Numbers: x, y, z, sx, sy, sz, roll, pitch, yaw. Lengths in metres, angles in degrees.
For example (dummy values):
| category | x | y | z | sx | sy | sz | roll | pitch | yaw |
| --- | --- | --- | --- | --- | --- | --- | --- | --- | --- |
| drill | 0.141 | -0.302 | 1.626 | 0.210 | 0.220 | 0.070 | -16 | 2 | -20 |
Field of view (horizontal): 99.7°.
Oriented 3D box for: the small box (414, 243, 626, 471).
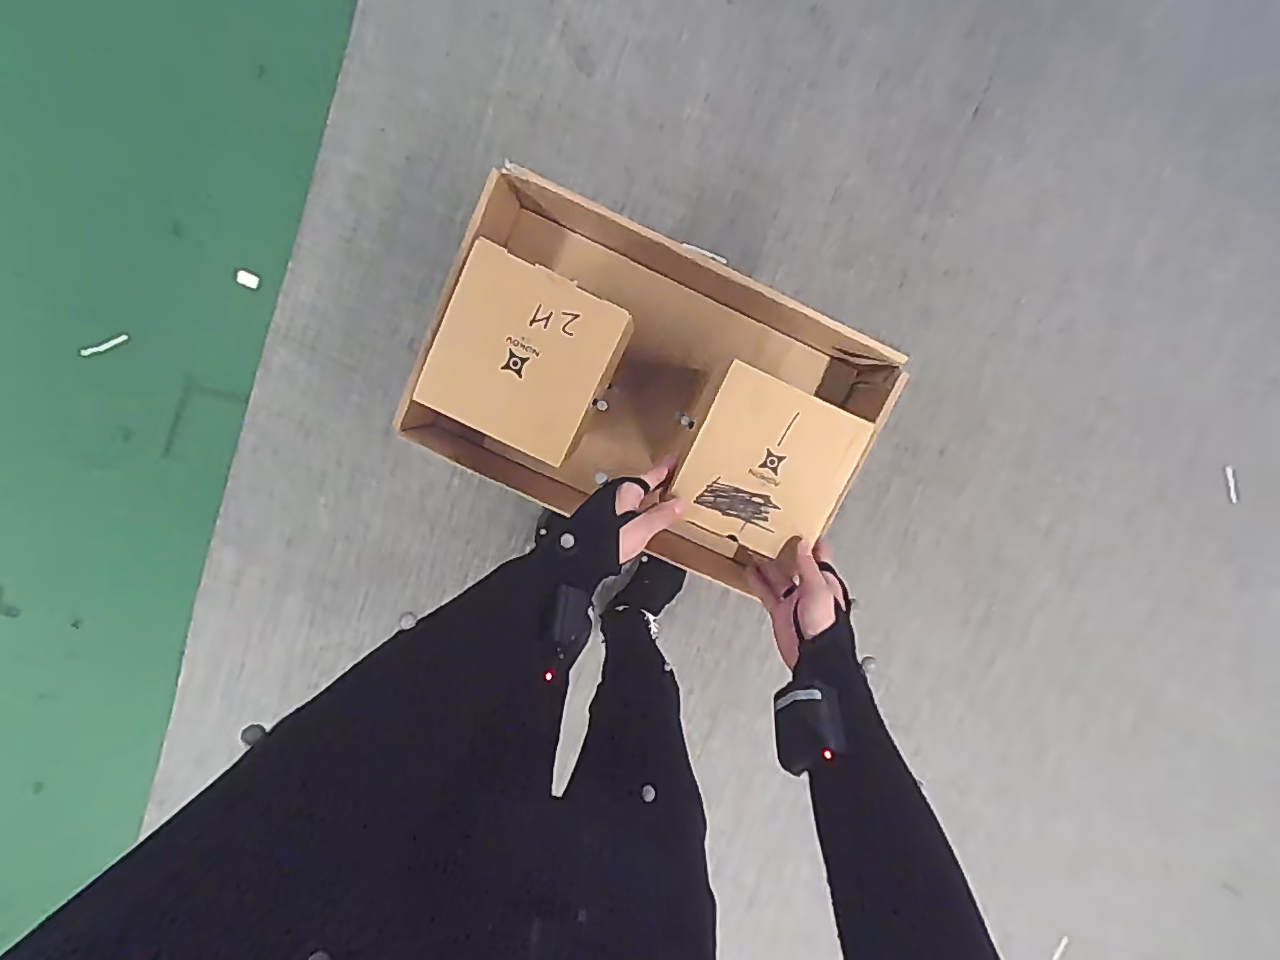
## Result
| category | x | y | z | sx | sy | sz | roll | pitch | yaw |
| --- | --- | --- | --- | --- | --- | --- | --- | --- | --- |
| small box | -0.122 | -0.133 | 0.621 | 0.168 | 0.176 | 0.179 | 26 | 98 | -5 |

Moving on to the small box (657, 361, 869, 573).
| category | x | y | z | sx | sy | sz | roll | pitch | yaw |
| --- | --- | --- | --- | --- | --- | --- | --- | --- | --- |
| small box | 0.129 | -0.022 | 0.641 | 0.168 | 0.176 | 0.179 | 25 | 98 | -4 |

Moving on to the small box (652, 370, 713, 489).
| category | x | y | z | sx | sy | sz | roll | pitch | yaw |
| --- | --- | --- | --- | --- | --- | --- | --- | --- | --- |
| small box | 0.129 | -0.046 | 0.803 | 0.168 | 0.176 | 0.179 | 25 | 98 | -3 |
